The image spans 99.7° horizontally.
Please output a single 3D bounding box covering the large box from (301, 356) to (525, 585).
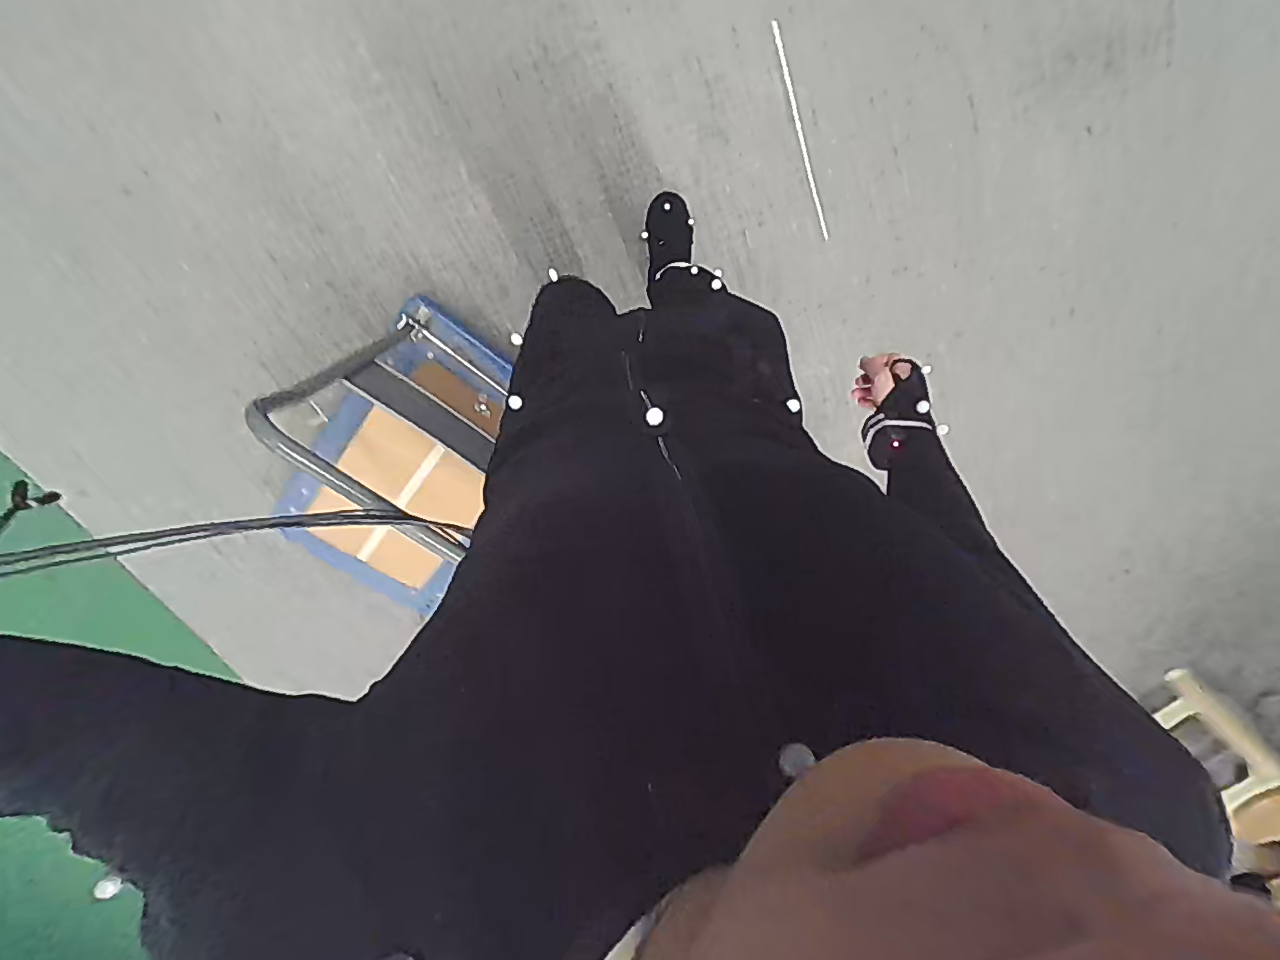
[{"bbox_3d":[-0.540,-0.029,1.341,0.320,0.320,0.408,37,113,-18],"label":"large box"}]
